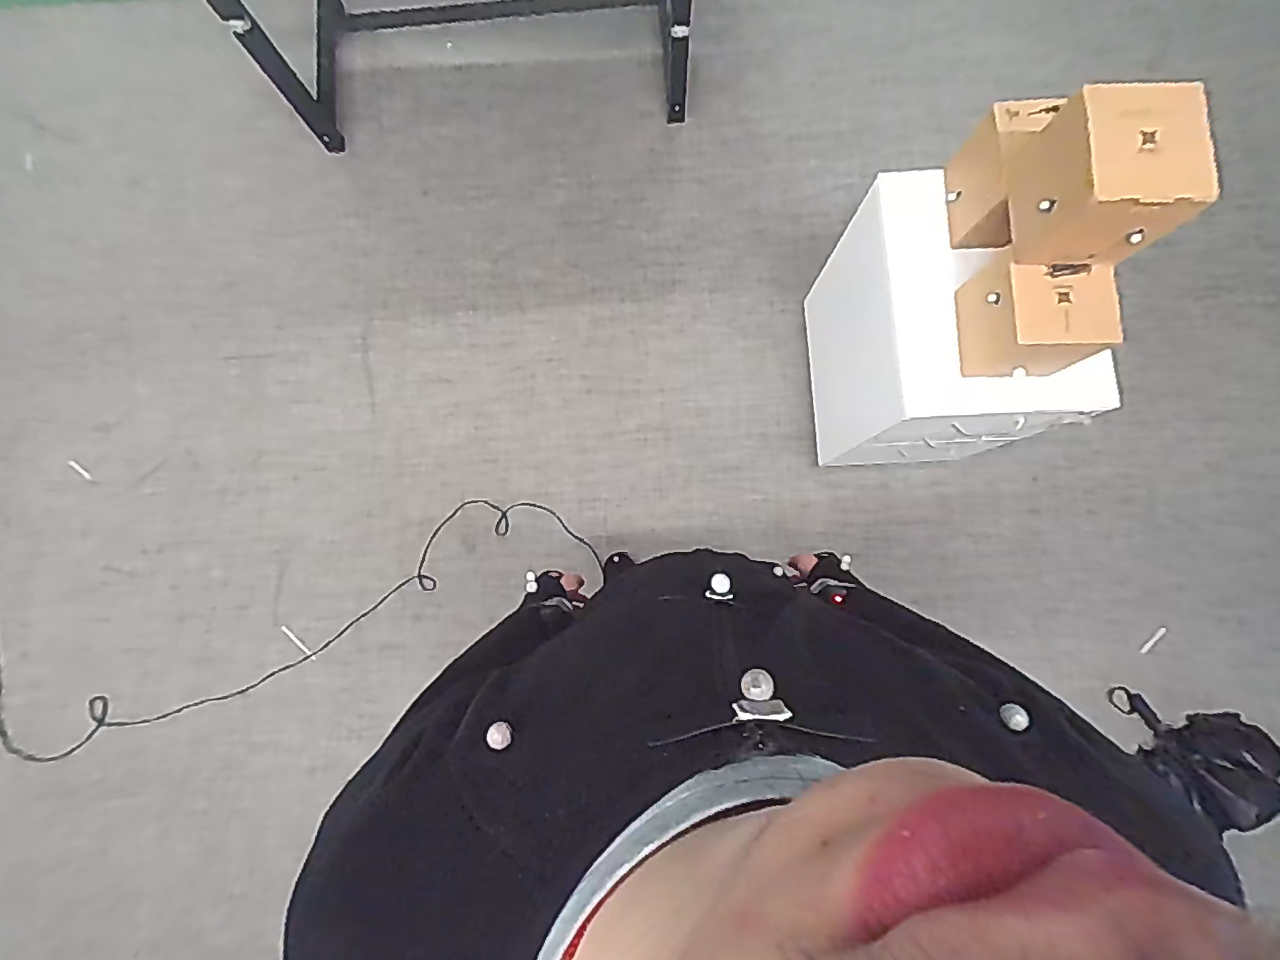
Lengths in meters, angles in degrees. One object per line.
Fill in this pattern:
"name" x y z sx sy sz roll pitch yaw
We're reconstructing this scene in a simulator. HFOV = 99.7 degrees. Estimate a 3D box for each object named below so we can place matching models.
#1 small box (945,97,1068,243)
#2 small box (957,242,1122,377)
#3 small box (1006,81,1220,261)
"small box" 0.683 -0.549 0.980 0.168 0.176 0.179 -2 85 1
"small box" 0.682 -0.291 0.946 0.168 0.176 0.179 0 83 2
"small box" 0.683 -0.445 0.803 0.168 0.176 0.179 0 81 1
